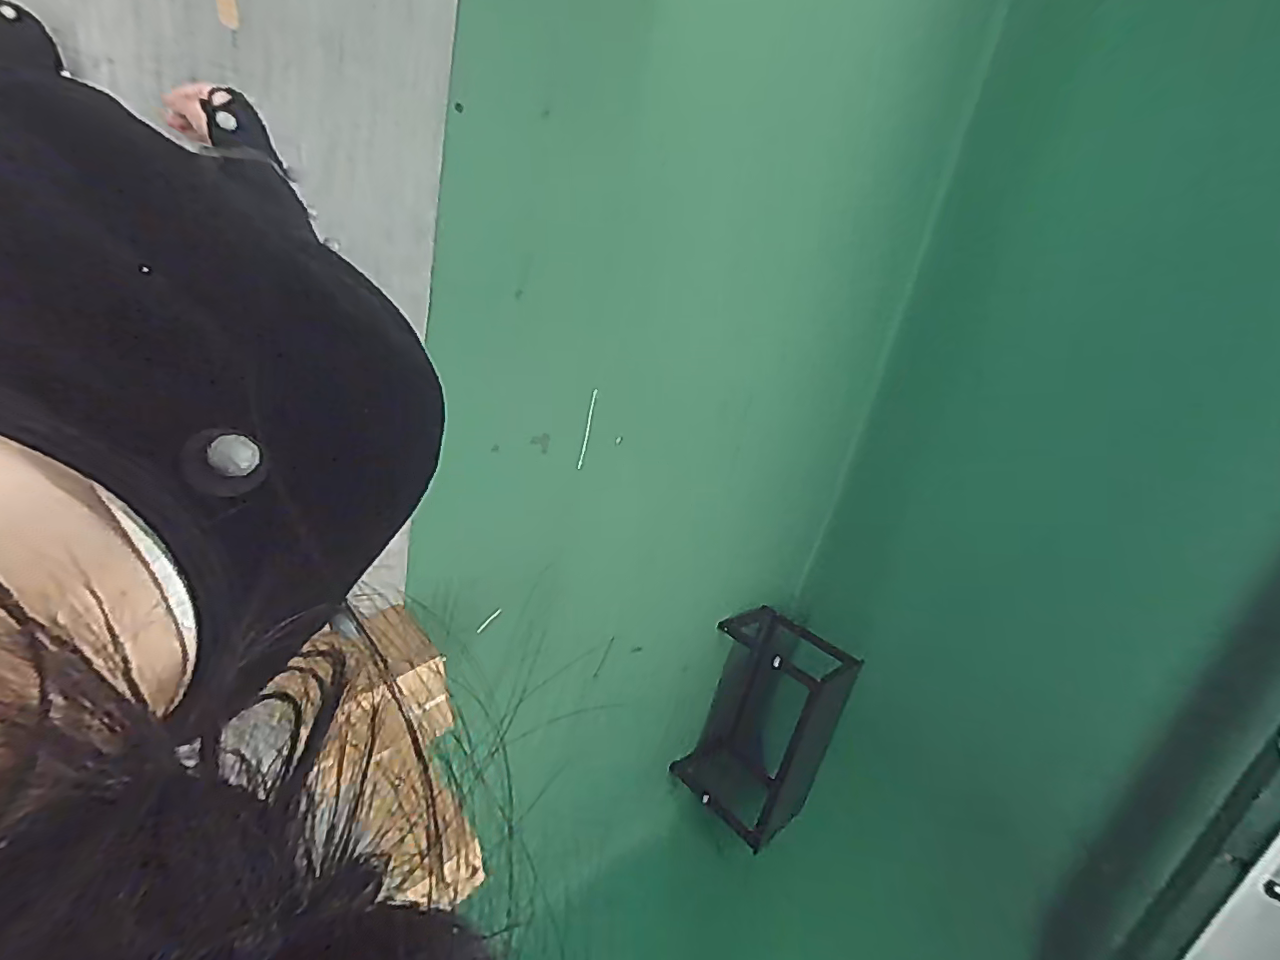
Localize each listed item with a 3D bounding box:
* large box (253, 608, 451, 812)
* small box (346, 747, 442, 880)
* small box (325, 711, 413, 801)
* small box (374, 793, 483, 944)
[{"bbox_3d":[-0.839,0.652,1.604,0.408,0.320,0.320,-23,127,-40],"label":"large box"},{"bbox_3d":[-0.591,0.799,1.312,0.179,0.176,0.168,-23,126,-38],"label":"small box"},{"bbox_3d":[-0.701,0.739,1.417,0.168,0.176,0.179,-21,125,-39],"label":"small box"},{"bbox_3d":[-0.476,0.858,1.210,0.179,0.176,0.168,-21,125,-38],"label":"small box"}]
